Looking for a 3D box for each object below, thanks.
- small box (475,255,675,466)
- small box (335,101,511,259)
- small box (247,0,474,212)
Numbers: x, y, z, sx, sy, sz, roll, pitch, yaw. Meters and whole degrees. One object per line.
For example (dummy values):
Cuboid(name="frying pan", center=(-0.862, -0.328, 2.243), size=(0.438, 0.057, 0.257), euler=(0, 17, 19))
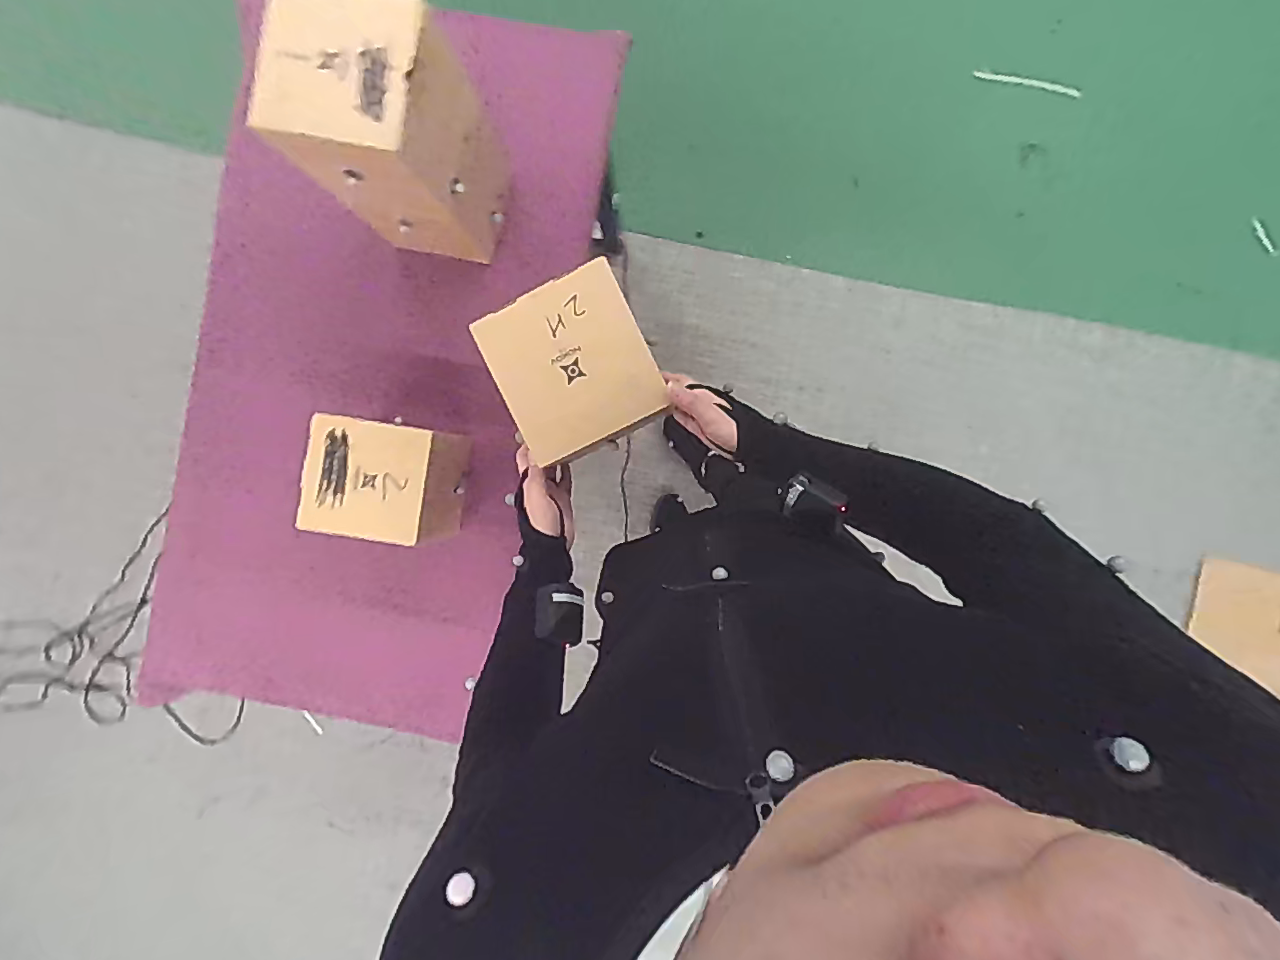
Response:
Cuboid(name="small box", center=(-0.062, -0.131, 0.650), size=(0.168, 0.176, 0.179), euler=(-24, 92, 5))
Cuboid(name="small box", center=(-0.318, -0.458, 0.824), size=(0.179, 0.176, 0.168), euler=(12, 93, 3))
Cuboid(name="small box", center=(-0.324, -0.453, 0.661), size=(0.179, 0.176, 0.168), euler=(12, 93, 4))
